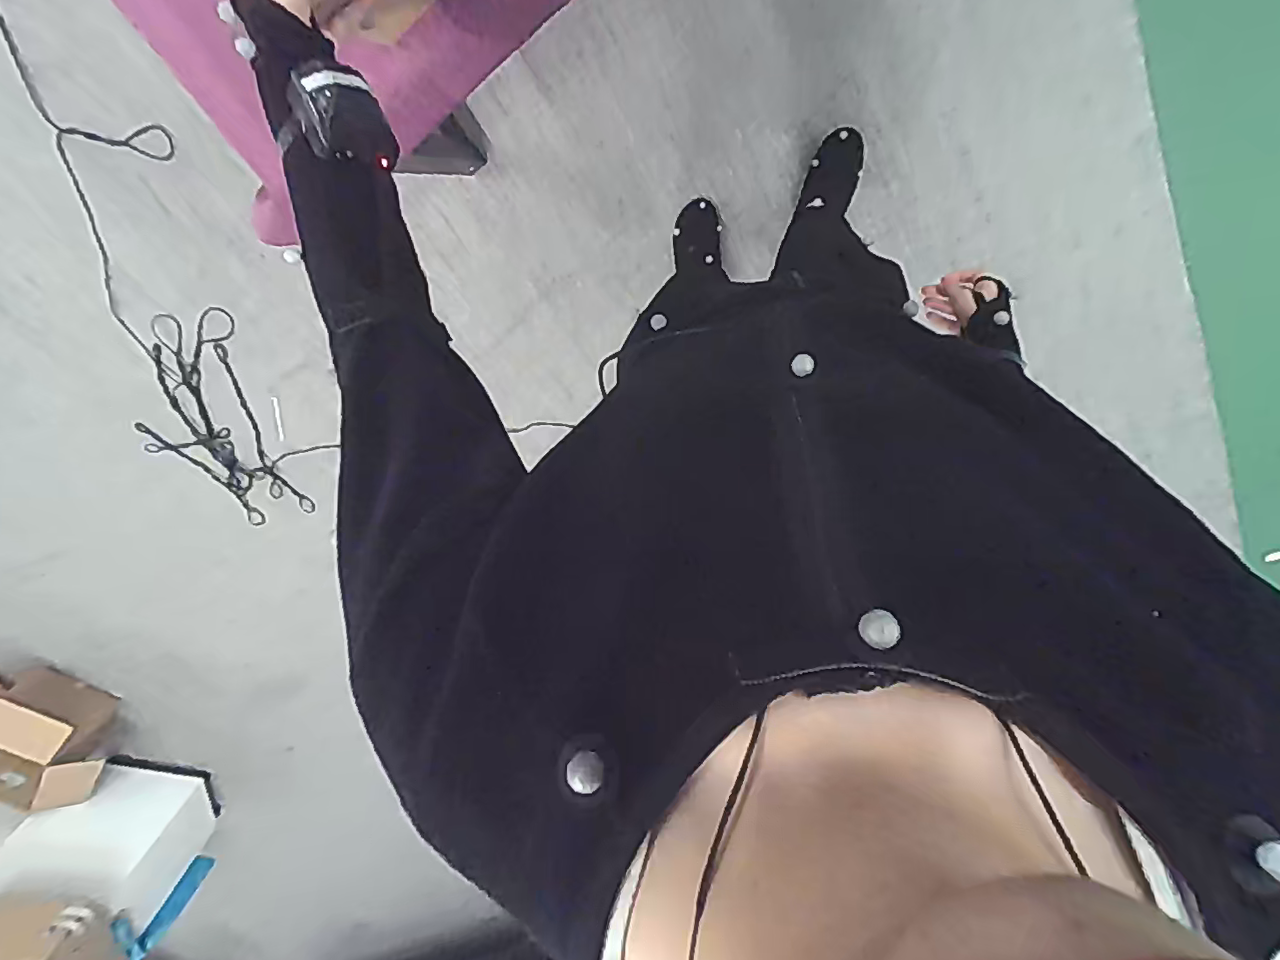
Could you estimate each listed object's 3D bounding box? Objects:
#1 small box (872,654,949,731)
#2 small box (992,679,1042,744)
[{"bbox_3d":[0.932,0.729,1.877,0.168,0.176,0.179,-25,115,16],"label":"small box"},{"bbox_3d":[1.372,0.778,1.882,0.179,0.176,0.168,-23,115,15],"label":"small box"}]
